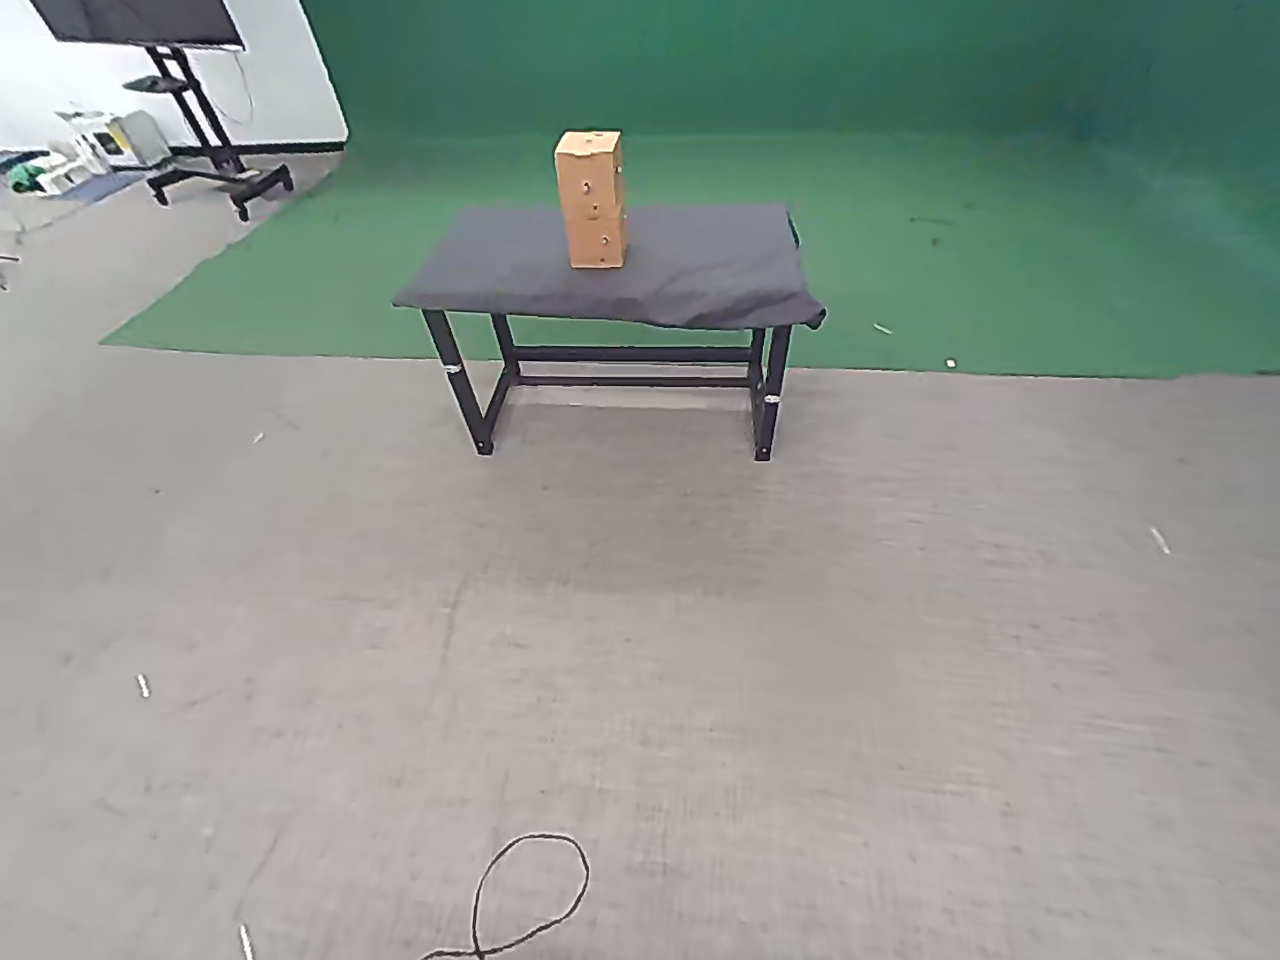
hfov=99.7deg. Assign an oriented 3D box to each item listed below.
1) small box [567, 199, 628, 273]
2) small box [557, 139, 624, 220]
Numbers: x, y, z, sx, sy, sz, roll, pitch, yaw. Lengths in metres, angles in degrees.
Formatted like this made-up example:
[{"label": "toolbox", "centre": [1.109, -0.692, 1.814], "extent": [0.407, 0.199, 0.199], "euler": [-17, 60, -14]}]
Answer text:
[{"label": "small box", "centre": [-0.130, -0.778, 1.727], "extent": [0.168, 0.176, 0.179], "euler": [2, 47, 4]}, {"label": "small box", "centre": [-0.139, -0.892, 1.609], "extent": [0.168, 0.176, 0.179], "euler": [4, 50, 5]}]
